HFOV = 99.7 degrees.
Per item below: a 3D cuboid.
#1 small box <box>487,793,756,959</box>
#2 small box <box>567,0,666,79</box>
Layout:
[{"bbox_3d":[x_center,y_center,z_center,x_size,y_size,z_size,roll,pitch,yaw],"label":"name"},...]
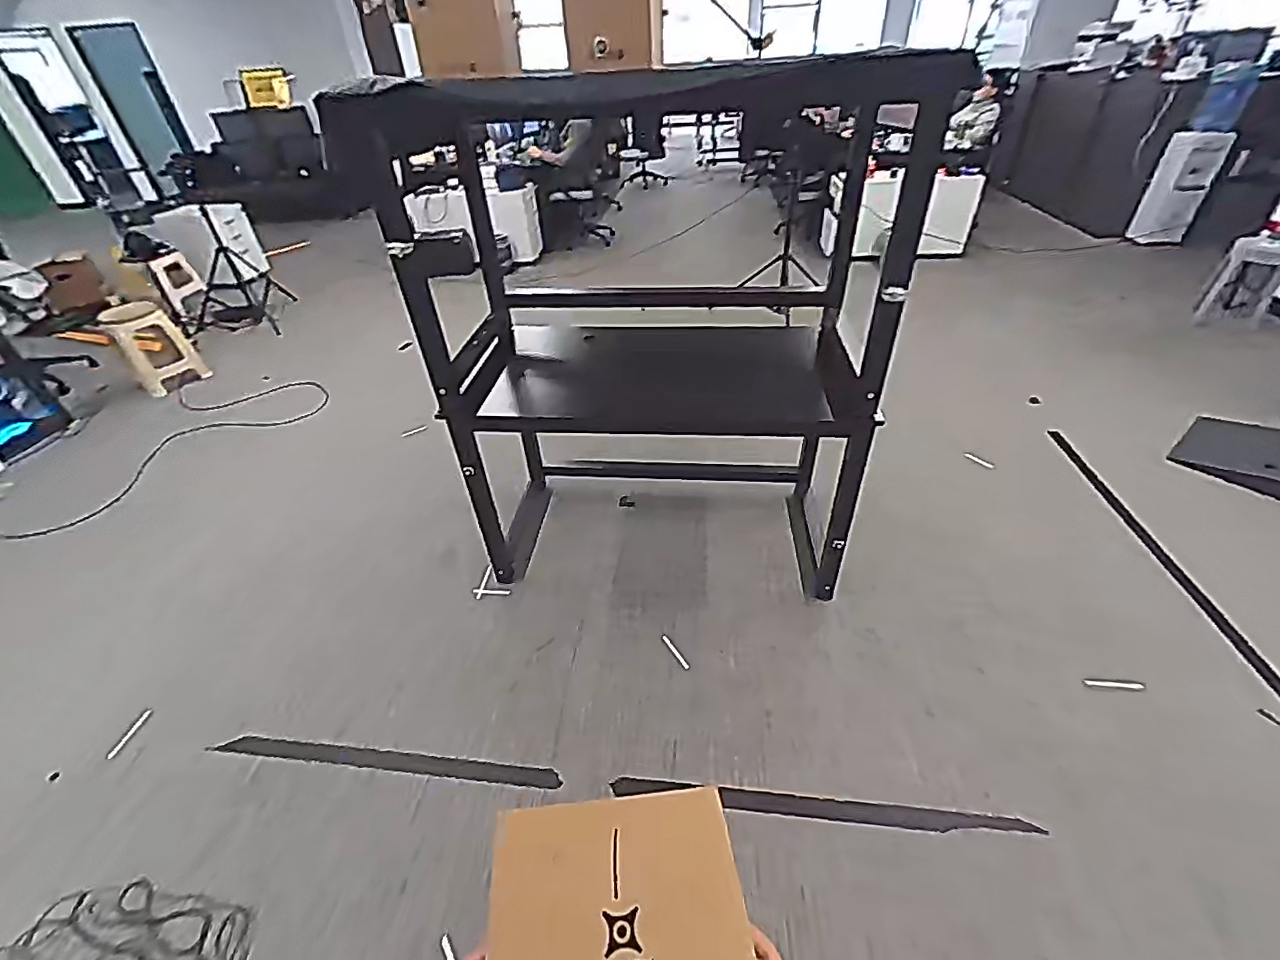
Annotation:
[{"bbox_3d":[-0.013,0.354,0.377,0.168,0.176,0.179,-3,37,-7],"label":"small box"},{"bbox_3d":[-0.040,-0.871,1.030,0.168,0.176,0.179,3,38,9],"label":"small box"}]
